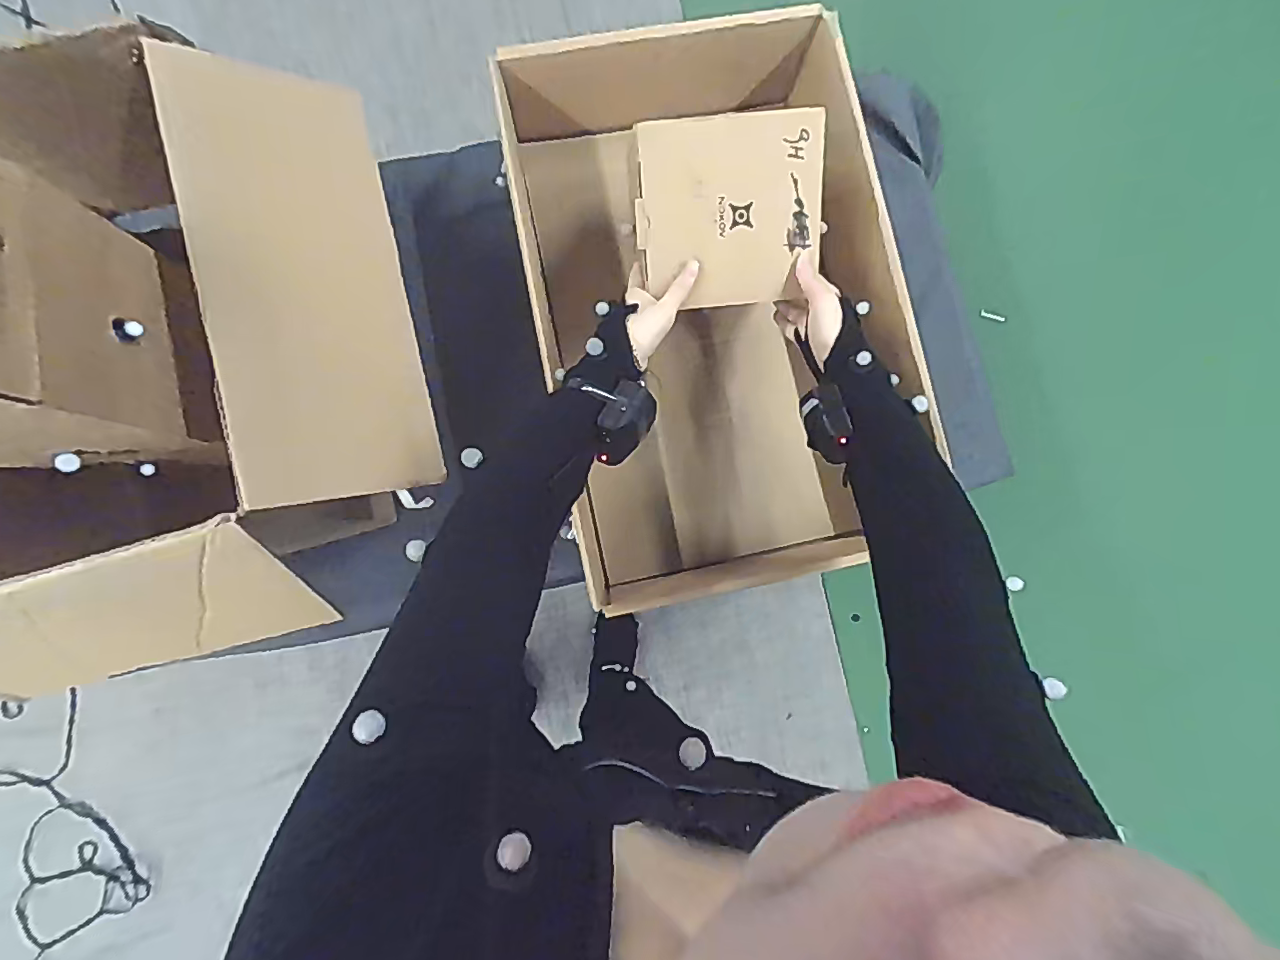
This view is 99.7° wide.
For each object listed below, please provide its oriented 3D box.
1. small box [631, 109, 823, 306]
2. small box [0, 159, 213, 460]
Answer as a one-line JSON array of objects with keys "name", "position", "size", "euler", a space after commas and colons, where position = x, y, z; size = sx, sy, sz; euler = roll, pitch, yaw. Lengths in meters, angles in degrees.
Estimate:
[{"name": "small box", "position": [0.081, -0.286, 0.593], "size": [0.179, 0.176, 0.168], "euler": [-5, 113, -2]}, {"name": "small box", "position": [-0.498, -0.121, 0.442], "size": [0.168, 0.176, 0.179], "euler": [-10, 88, -5]}]
